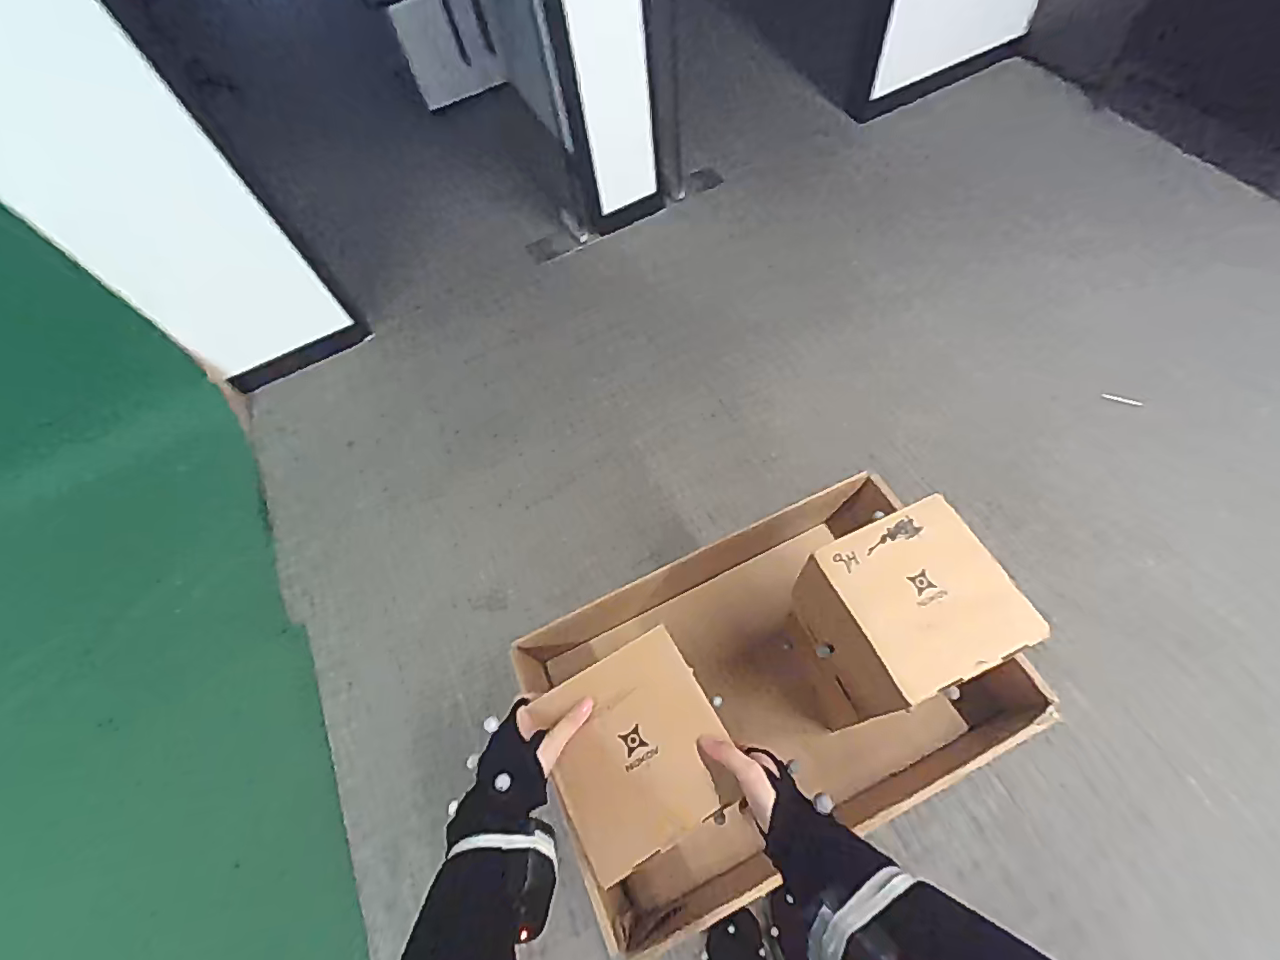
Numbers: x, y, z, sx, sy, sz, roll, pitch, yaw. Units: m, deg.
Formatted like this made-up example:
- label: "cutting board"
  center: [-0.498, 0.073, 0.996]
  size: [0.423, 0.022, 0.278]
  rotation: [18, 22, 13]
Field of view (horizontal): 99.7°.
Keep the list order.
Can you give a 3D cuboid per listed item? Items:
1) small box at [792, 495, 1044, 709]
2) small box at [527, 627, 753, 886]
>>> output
- label: "small box"
  center: [0.299, 0.151, 0.628]
  size: [0.168, 0.176, 0.179]
  rotation: [-23, 62, -6]
- label: "small box"
  center: [0.005, 0.292, 0.593]
  size: [0.168, 0.176, 0.179]
  rotation: [-29, 62, -8]
